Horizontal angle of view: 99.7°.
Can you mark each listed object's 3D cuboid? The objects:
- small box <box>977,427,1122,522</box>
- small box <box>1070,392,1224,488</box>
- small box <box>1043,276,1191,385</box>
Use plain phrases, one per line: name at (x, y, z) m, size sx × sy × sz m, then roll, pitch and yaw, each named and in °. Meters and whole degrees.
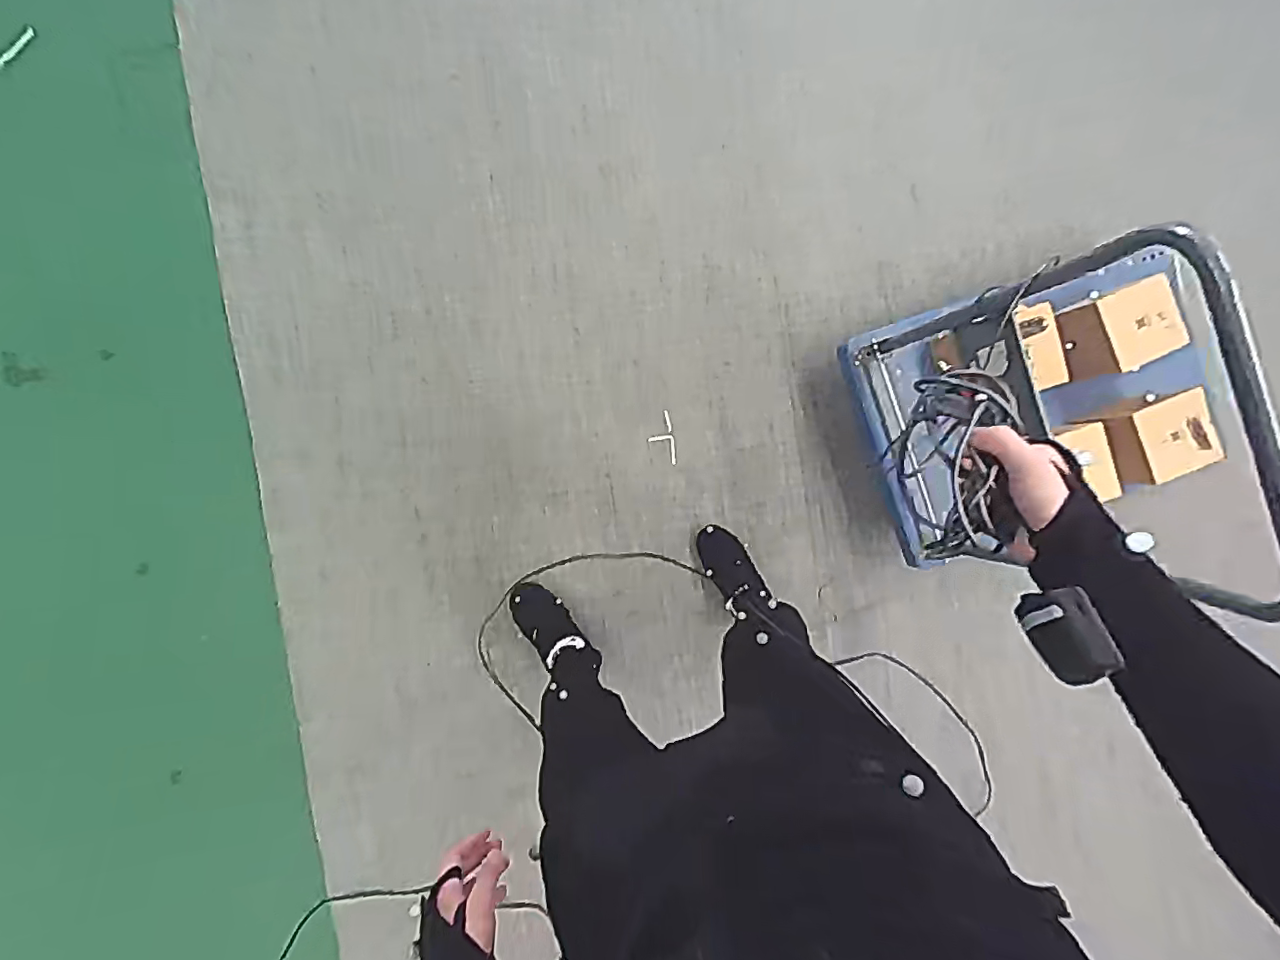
small box at (0.906, -0.014, 1.209) m, size 0.179 × 0.176 × 0.168 m, roll -17°, pitch 92°, yaw -5°
small box at (1.143, -0.088, 1.231) m, size 0.179 × 0.176 × 0.168 m, roll -20°, pitch 92°, yaw -4°
small box at (1.060, -0.328, 1.221) m, size 0.179 × 0.176 × 0.168 m, roll -23°, pitch 93°, yaw -5°
